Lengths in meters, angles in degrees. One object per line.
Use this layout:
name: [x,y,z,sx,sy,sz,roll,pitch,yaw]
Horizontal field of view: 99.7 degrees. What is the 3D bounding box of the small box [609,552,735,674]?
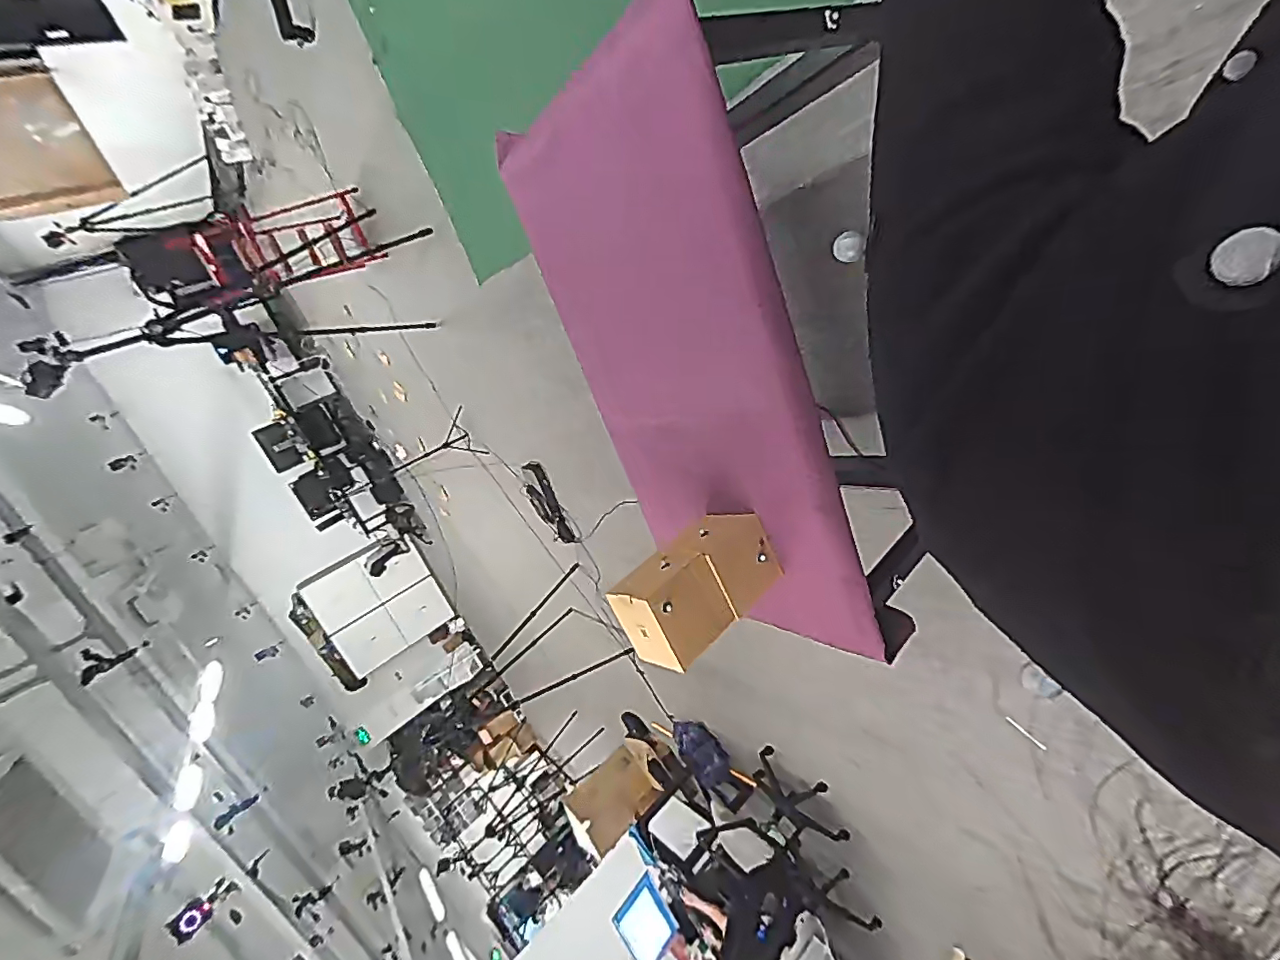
small box: [0.071,0.272,1.145,0.168,0.176,0.179,-11,108,57]
